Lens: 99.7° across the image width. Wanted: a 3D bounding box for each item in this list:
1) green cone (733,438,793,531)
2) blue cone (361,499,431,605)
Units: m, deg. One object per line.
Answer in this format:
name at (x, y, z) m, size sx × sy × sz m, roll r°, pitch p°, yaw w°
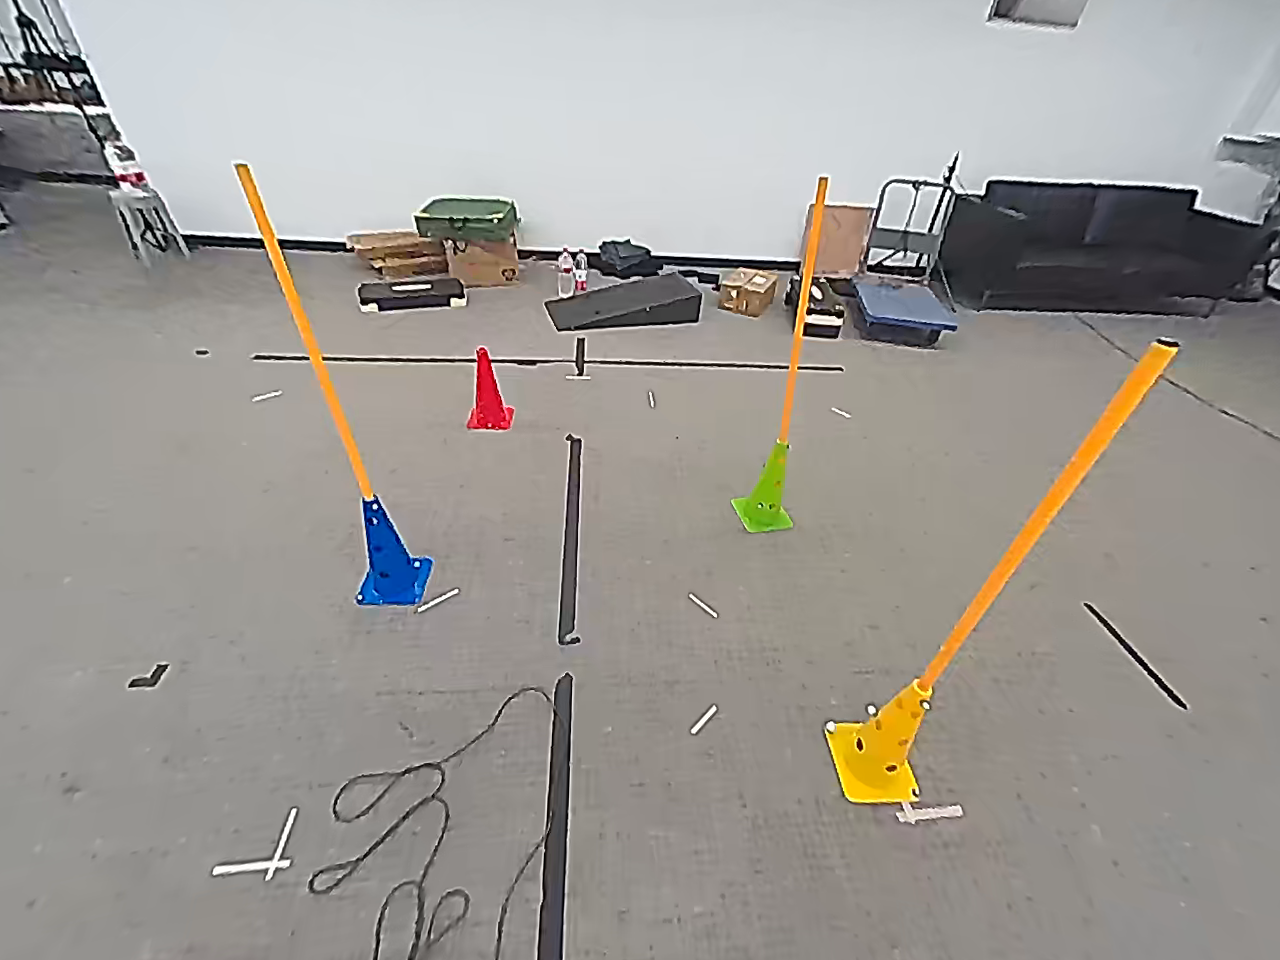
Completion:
green cone at (0.503, -0.007, 2.066) m, size 0.200 × 0.368 × 0.202 m, roll -6°, pitch 41°, yaw -14°
blue cone at (-0.788, 0.205, 1.678) m, size 0.193 × 0.380 × 0.192 m, roll 2°, pitch 38°, yaw -3°
